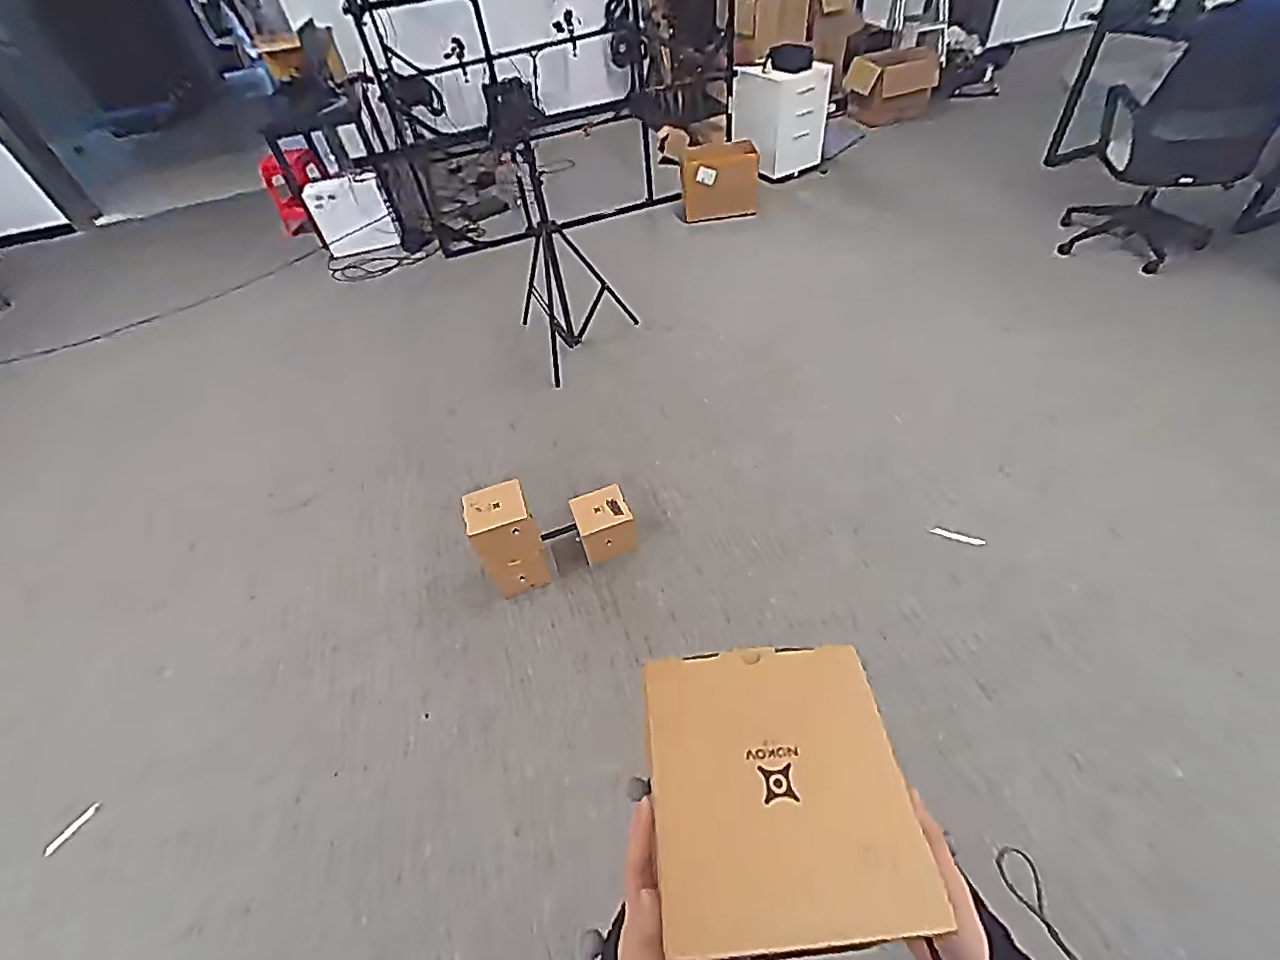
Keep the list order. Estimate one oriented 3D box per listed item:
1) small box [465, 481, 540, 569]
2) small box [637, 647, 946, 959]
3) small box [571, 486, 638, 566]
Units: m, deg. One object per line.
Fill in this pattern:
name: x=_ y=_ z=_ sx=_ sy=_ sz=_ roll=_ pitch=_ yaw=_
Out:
small box: x=-0.407 y=0.137 z=1.626 sx=0.179 sy=0.176 sz=0.168 roll=-18 pitch=47 yaw=-8
small box: x=0.087 y=0.252 z=0.413 sx=0.168 sy=0.176 sz=0.179 roll=-4 pitch=45 yaw=-3
small box: x=-0.112 y=0.154 z=1.791 sx=0.179 sy=0.176 sz=0.168 roll=-20 pitch=48 yaw=-8
